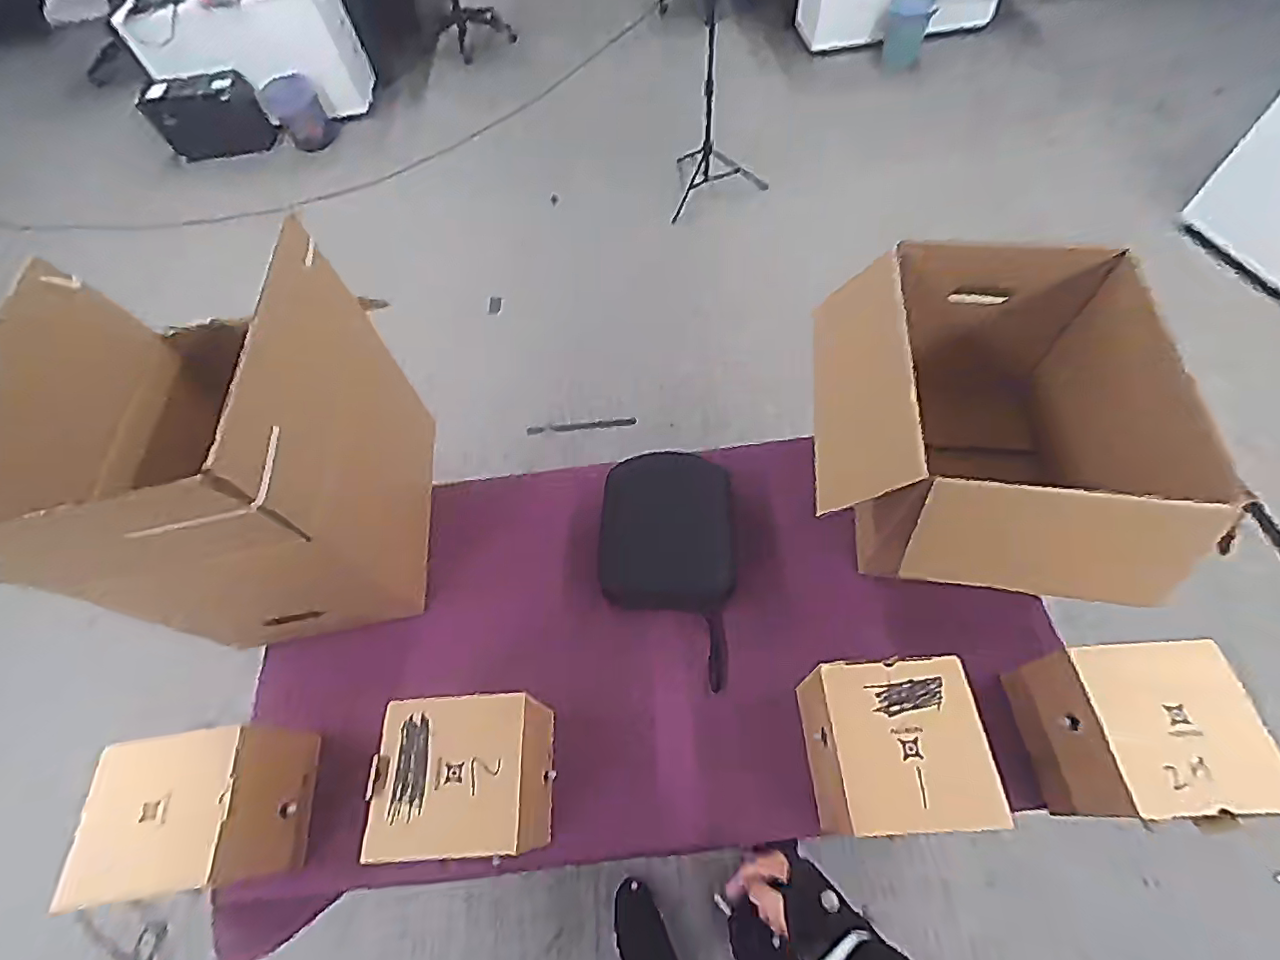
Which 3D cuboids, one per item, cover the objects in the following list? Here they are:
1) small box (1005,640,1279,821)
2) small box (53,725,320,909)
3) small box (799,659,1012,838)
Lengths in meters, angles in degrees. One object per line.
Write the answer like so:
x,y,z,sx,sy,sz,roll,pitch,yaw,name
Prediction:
0.586,0.306,0.652,0.168,0.176,0.179,-4,59,4,small box
-0.556,0.427,0.696,0.179,0.176,0.168,-9,59,-1,small box
0.303,0.332,0.667,0.168,0.176,0.179,-5,60,3,small box
